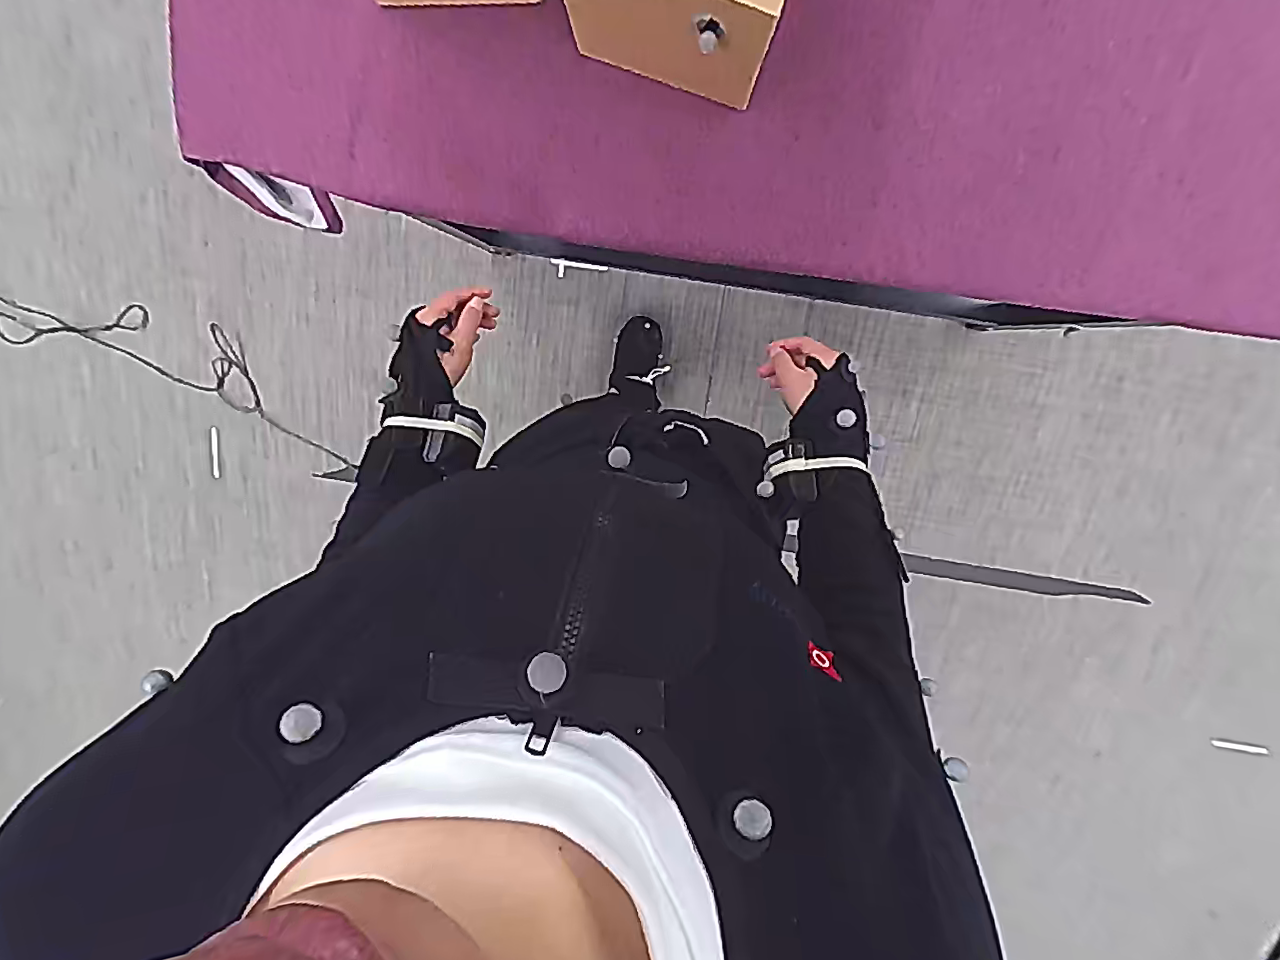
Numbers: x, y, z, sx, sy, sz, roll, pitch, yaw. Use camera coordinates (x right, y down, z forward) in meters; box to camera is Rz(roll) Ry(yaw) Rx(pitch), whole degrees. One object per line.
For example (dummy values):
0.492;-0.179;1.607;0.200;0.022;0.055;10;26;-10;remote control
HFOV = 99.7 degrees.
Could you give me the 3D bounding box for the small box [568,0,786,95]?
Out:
0.044;-0.450;0.434;0.179;0.176;0.168;18;104;-2;small box
